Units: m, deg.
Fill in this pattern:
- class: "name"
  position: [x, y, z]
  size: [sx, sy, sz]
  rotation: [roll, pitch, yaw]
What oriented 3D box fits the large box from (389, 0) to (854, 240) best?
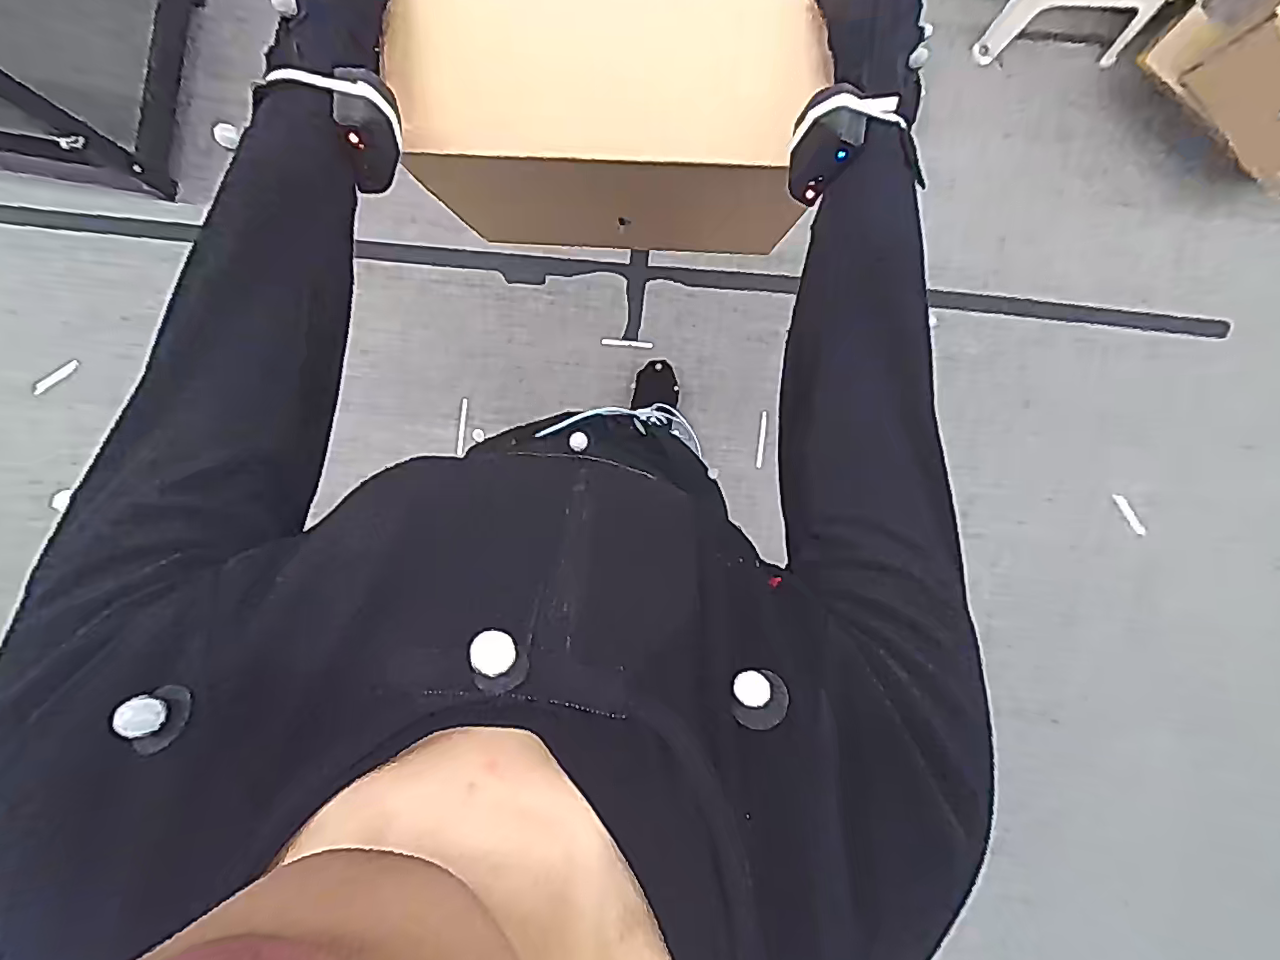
- class: "large box"
  position: [-0.010, -0.468, 0.602]
  size: [0.408, 0.320, 0.320]
  rotation: [3, 99, 1]
